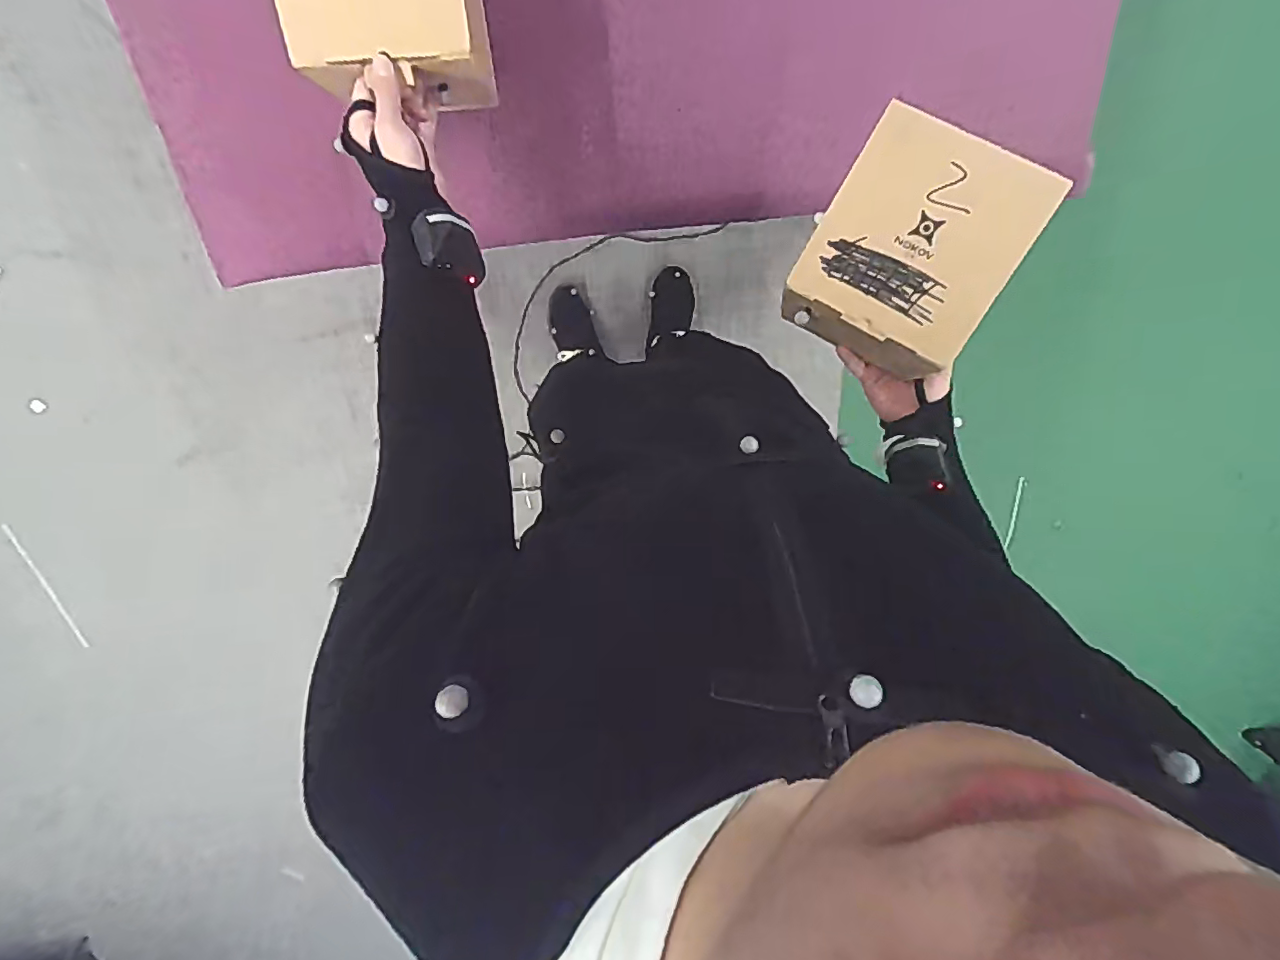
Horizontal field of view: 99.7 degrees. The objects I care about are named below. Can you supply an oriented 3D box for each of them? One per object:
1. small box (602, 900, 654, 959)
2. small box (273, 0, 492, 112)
[{"bbox_3d":[-0.041,1.552,1.807,0.168,0.176,0.179,-4,112,-4],"label":"small box"},{"bbox_3d":[-0.254,-0.494,0.547,0.168,0.176,0.179,-5,110,-4],"label":"small box"}]
